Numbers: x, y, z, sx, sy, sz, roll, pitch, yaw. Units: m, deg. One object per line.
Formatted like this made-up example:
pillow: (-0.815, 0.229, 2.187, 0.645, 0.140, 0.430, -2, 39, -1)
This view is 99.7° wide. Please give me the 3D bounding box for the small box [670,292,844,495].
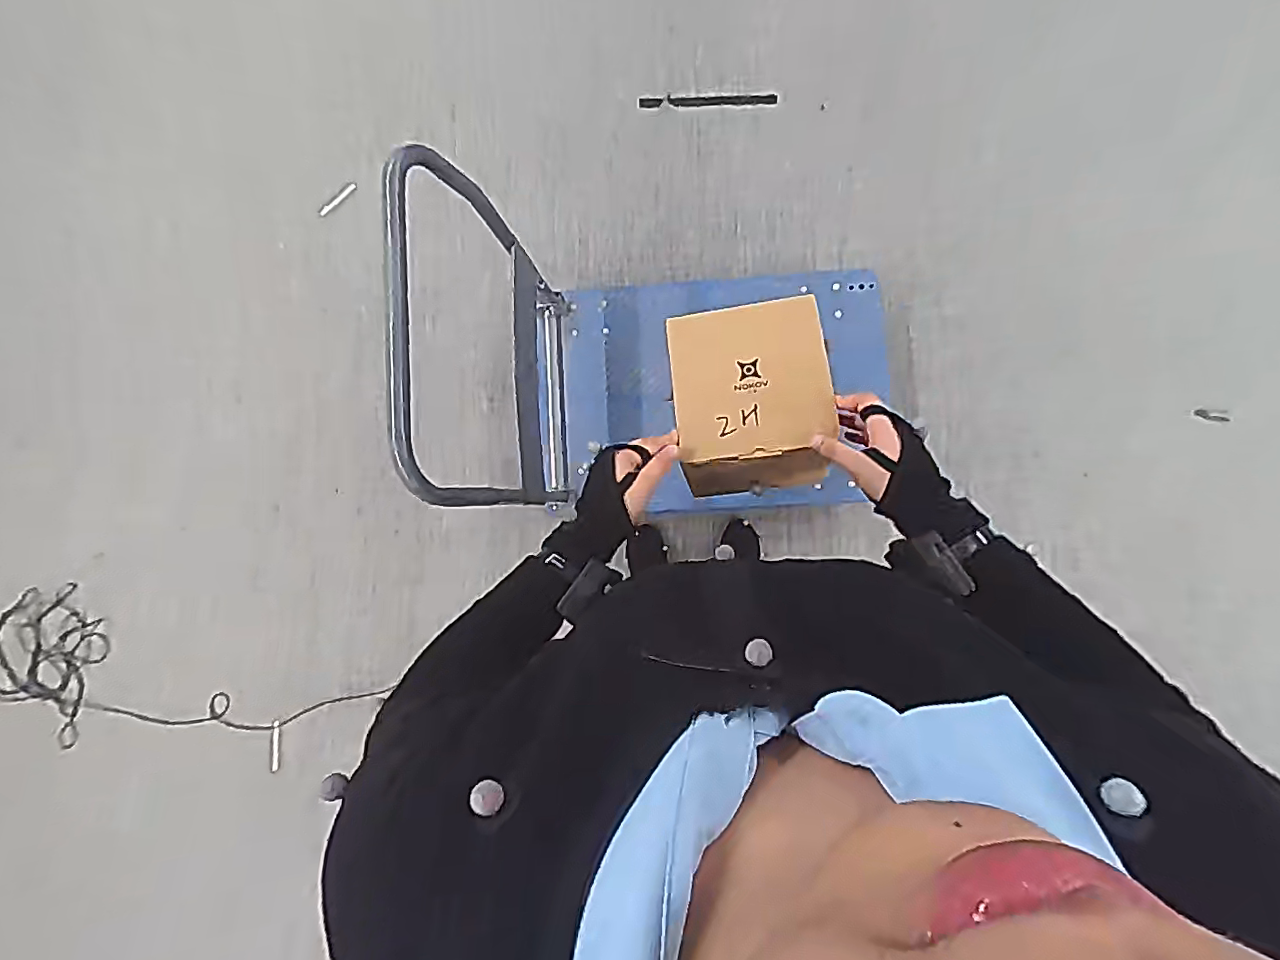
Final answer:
small box: (0.130, -0.091, 0.641, 0.168, 0.176, 0.179, -6, 75, 9)
